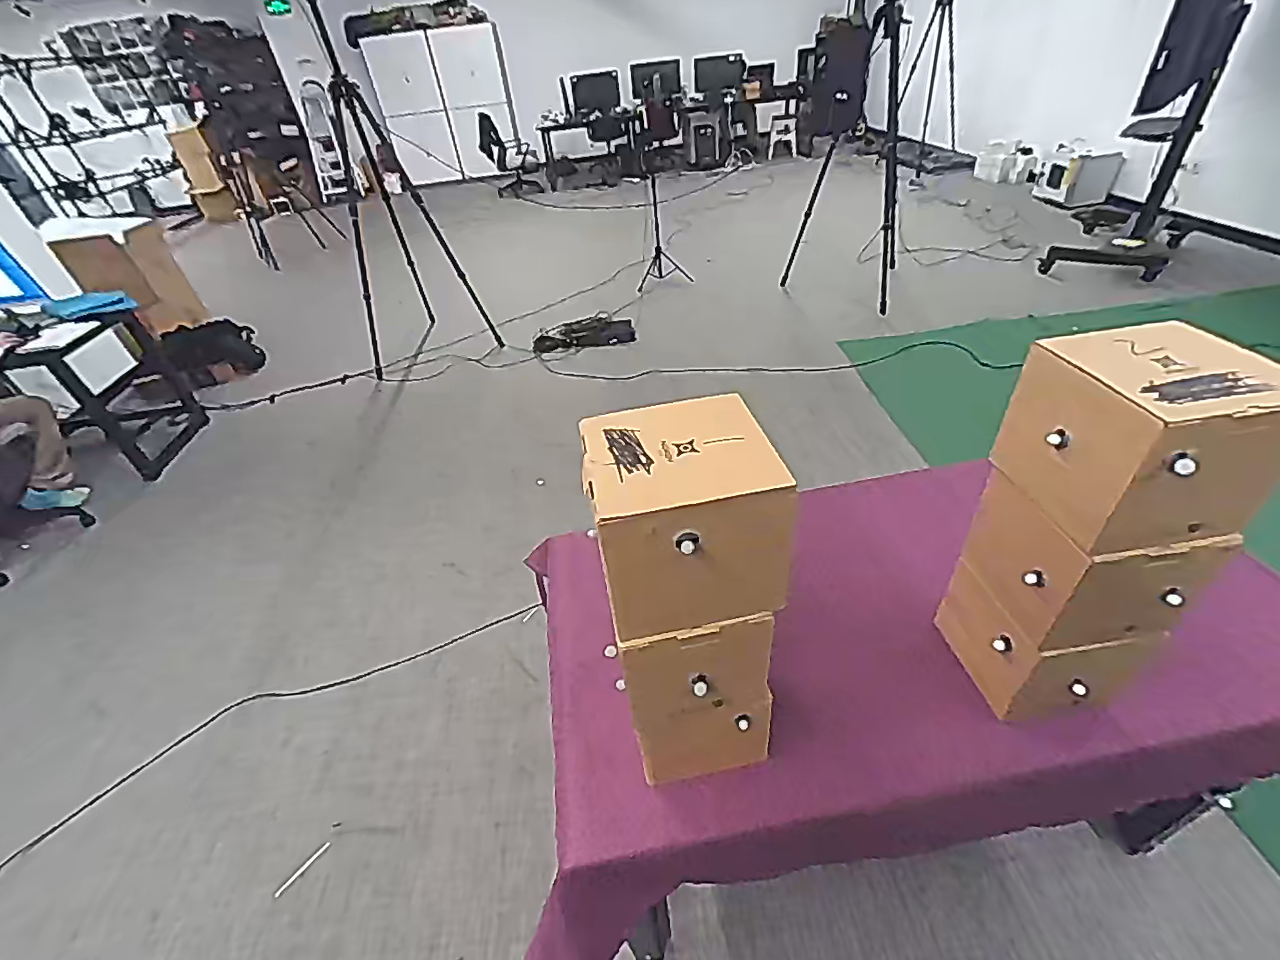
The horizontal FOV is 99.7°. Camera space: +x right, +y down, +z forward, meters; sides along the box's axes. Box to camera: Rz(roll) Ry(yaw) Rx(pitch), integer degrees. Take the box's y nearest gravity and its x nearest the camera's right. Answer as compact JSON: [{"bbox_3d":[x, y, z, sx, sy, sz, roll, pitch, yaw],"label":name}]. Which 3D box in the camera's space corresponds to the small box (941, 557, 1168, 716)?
[{"bbox_3d":[0.568,0.216,0.774,0.168,0.176,0.179,-9,38,-1],"label":"small box"}]

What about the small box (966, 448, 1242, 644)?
[{"bbox_3d":[0.549,0.087,0.676,0.168,0.176,0.179,-8,38,0],"label":"small box"}]

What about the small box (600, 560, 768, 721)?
[{"bbox_3d":[0.049,0.172,0.664,0.168,0.176,0.179,-11,39,-5],"label":"small box"}]

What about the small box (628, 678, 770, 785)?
[{"bbox_3d":[0.073,0.301,0.763,0.179,0.176,0.168,-11,38,-4],"label":"small box"}]

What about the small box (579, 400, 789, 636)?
[{"bbox_3d":[0.040,0.040,0.566,0.179,0.176,0.168,-10,38,-4],"label":"small box"}]
